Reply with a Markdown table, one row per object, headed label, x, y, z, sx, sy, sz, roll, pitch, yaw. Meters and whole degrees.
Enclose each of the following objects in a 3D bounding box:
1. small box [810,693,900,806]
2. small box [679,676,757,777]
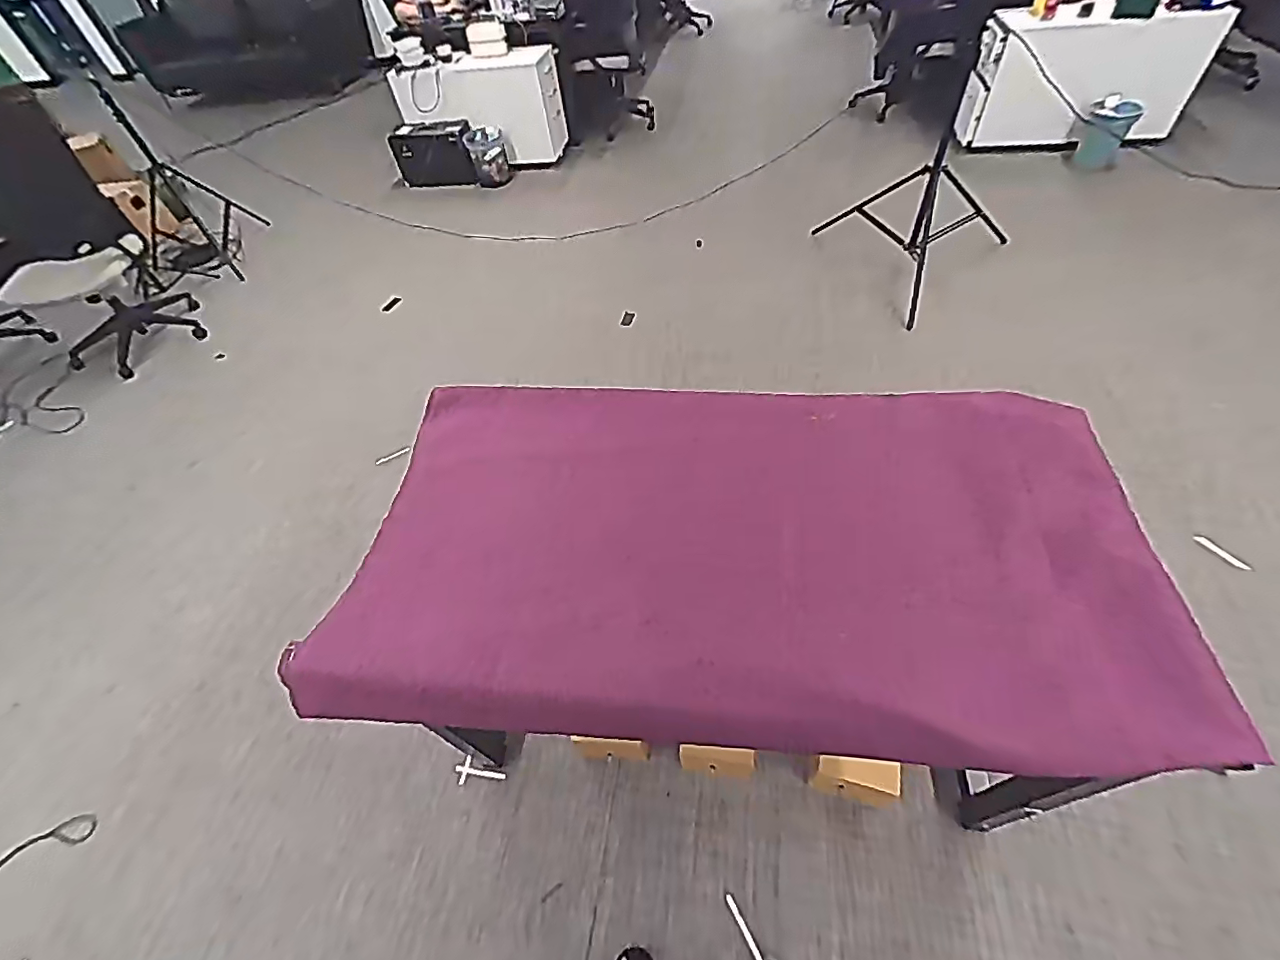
| label | x | y | z | sx | sy | sz | roll | pitch | yaw |
| --- | --- | --- | --- | --- | --- | --- | --- | --- | --- |
| small box | 0.493 | 0.627 | 1.250 | 0.168 | 0.176 | 0.179 | 10 | 52 | 15 |
| small box | 0.191 | 0.600 | 1.308 | 0.168 | 0.176 | 0.179 | 5 | 51 | 10 |
